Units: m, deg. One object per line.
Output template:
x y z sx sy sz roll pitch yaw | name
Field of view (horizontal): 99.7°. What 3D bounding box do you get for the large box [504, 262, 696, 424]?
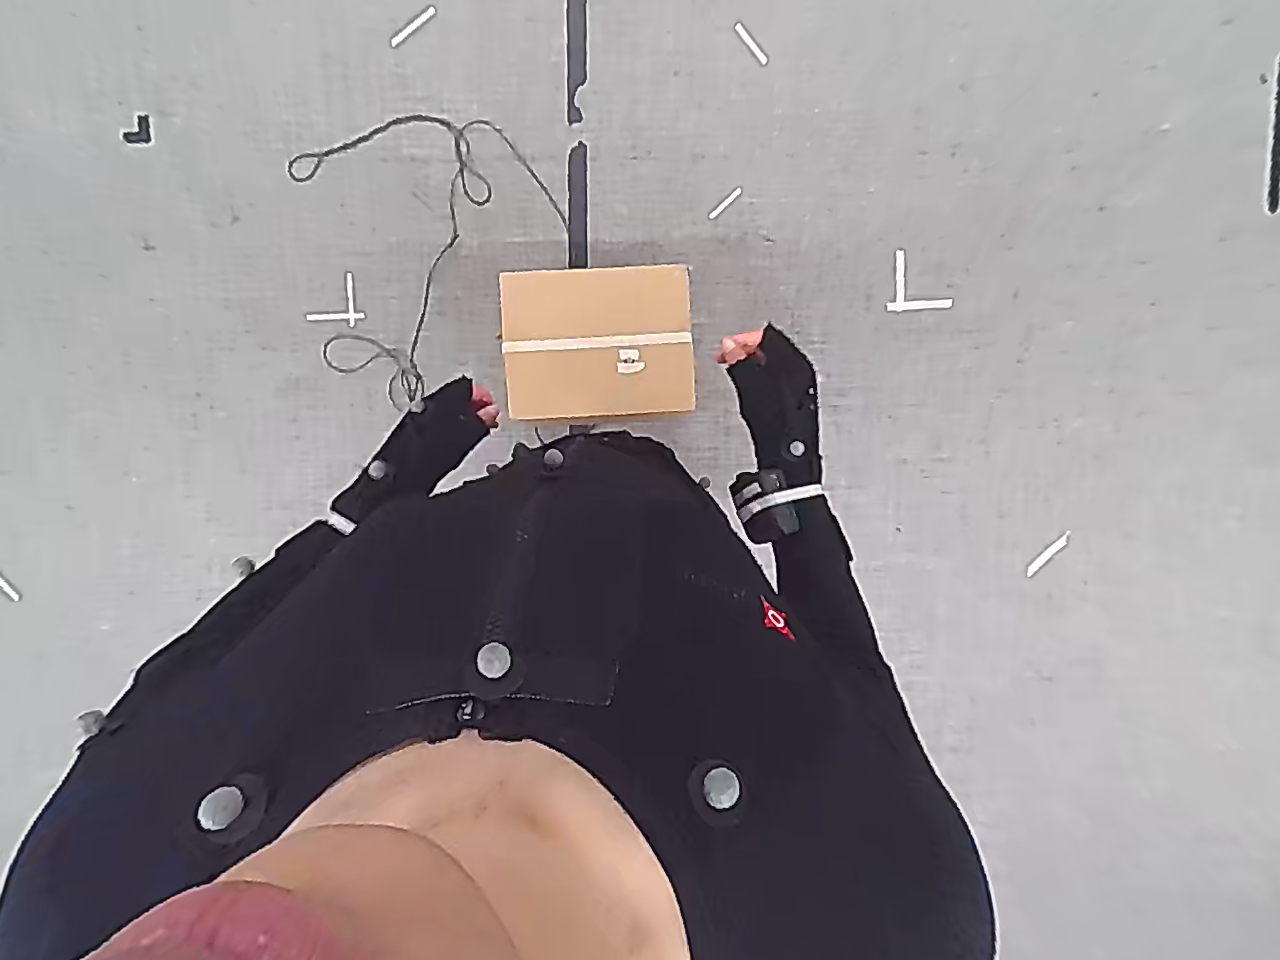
-0.089 -0.312 1.316 0.408 0.320 0.320 -3 94 -1 | large box
